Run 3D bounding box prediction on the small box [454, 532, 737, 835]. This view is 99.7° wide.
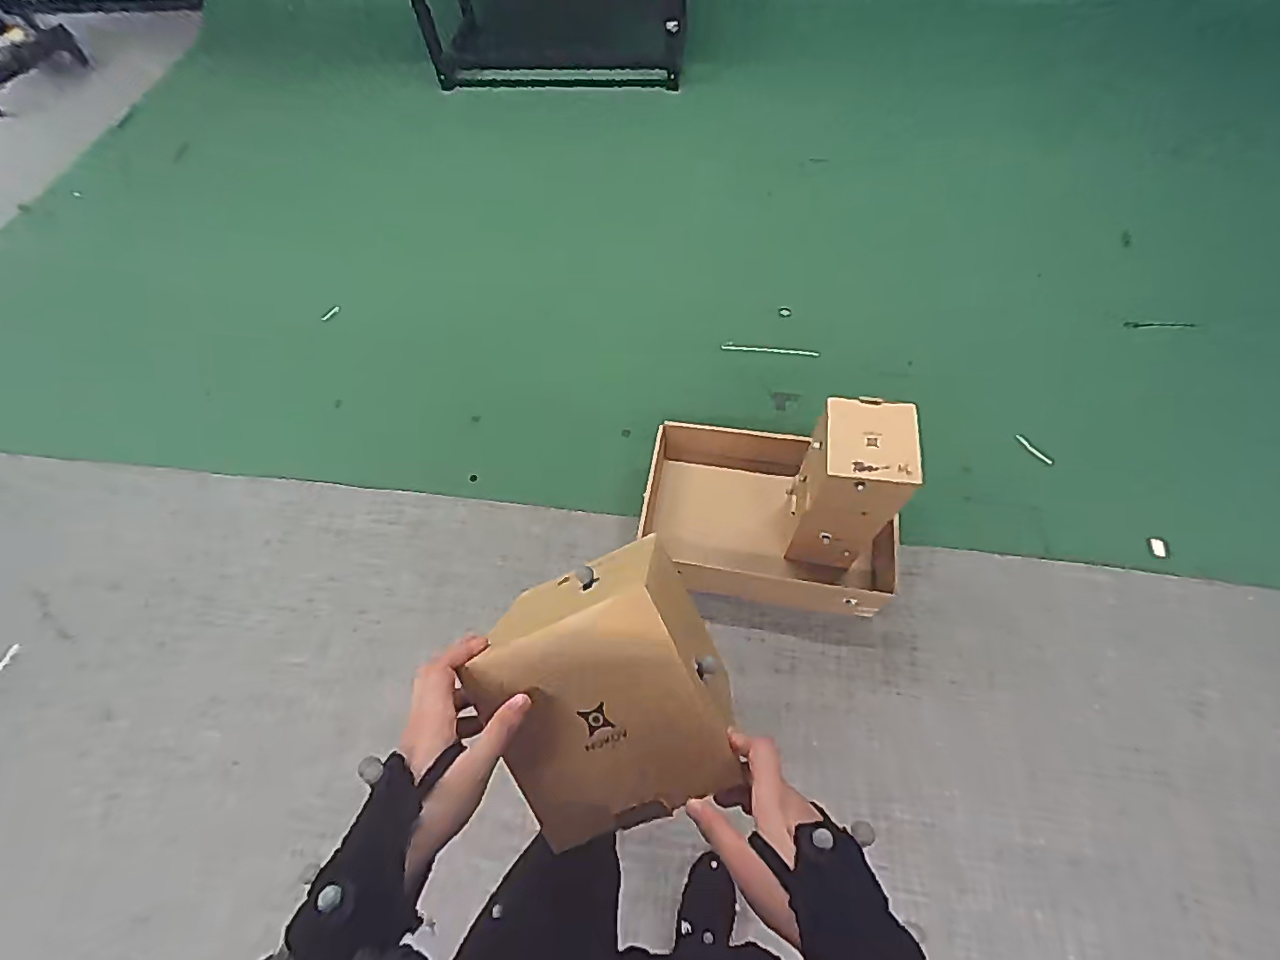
[{"bbox_3d":[-0.030,0.160,0.490,0.168,0.176,0.179,-26,96,8],"label":"small box"}]

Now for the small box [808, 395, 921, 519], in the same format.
[{"bbox_3d":[0.433,-0.043,1.068,0.168,0.176,0.179,6,63,8],"label":"small box"}]

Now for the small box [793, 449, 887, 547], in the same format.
[{"bbox_3d":[0.445,0.031,1.214,0.168,0.176,0.179,9,65,10],"label":"small box"}]
